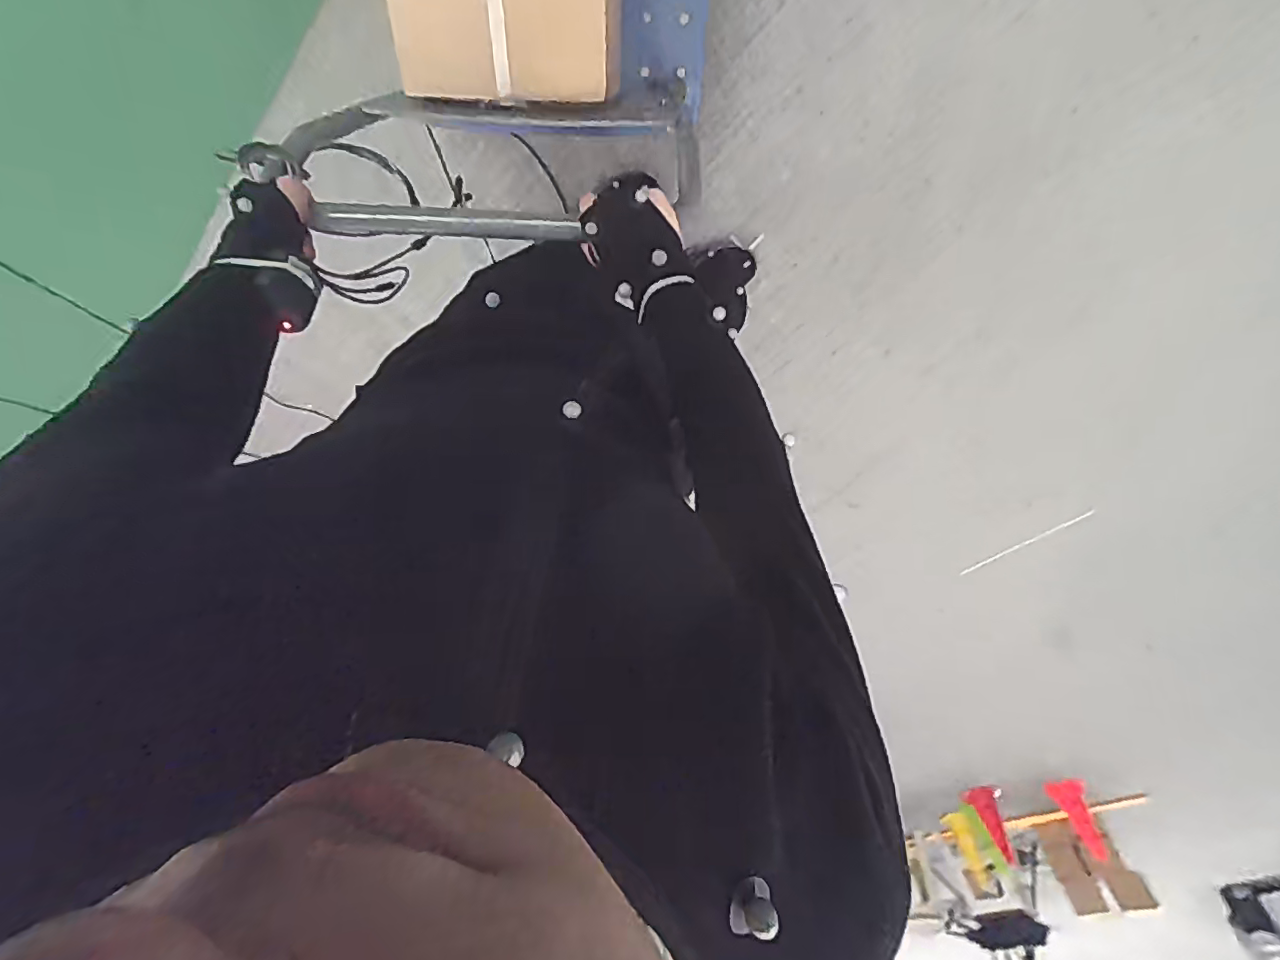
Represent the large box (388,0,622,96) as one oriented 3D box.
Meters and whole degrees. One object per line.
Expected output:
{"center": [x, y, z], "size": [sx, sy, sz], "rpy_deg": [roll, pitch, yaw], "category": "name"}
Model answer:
{"center": [-0.194, -0.836, 0.822], "size": [0.320, 0.320, 0.408], "rpy_deg": [3, 128, 0], "category": "large box"}
